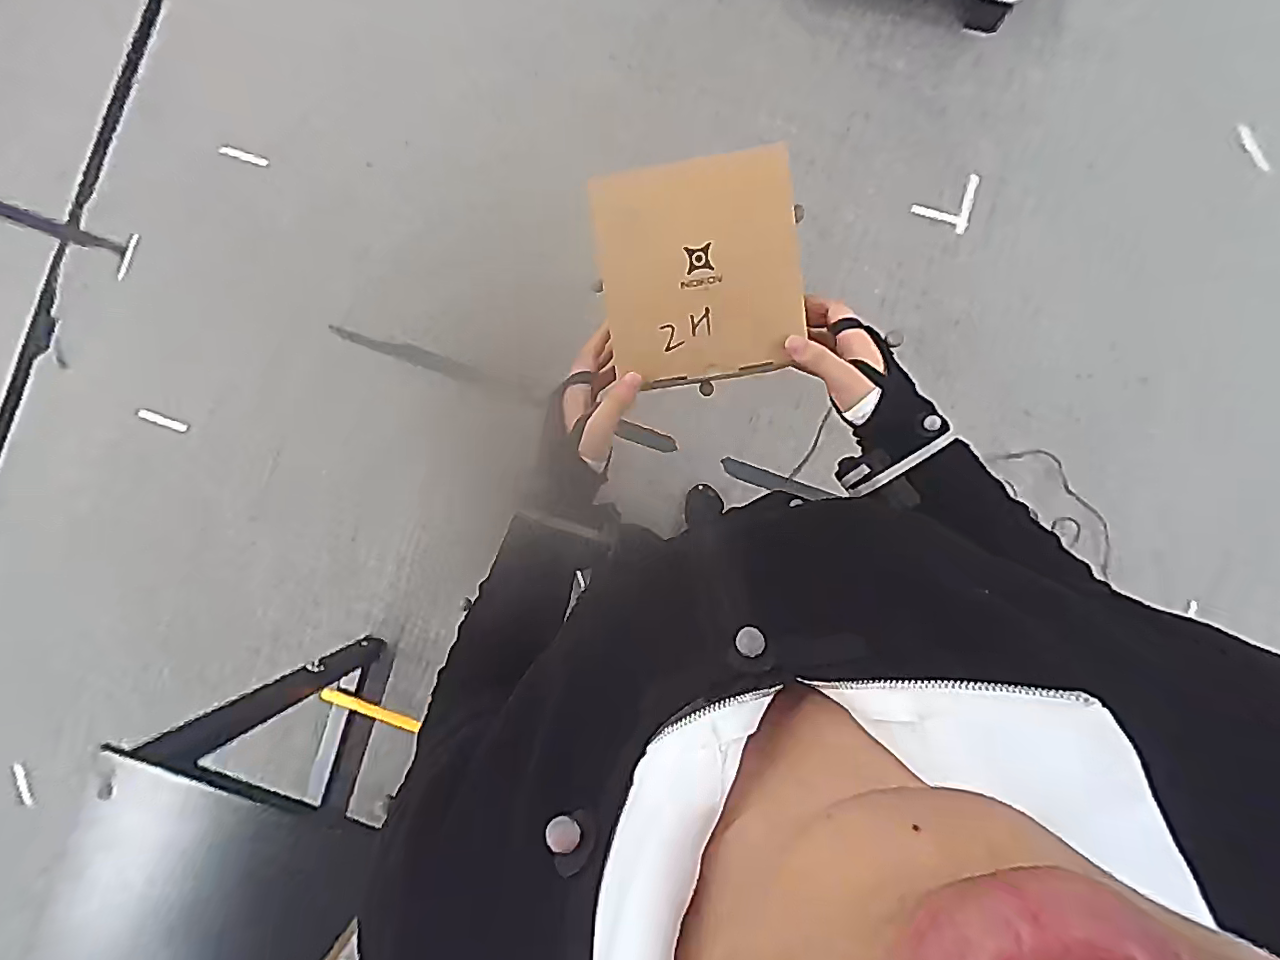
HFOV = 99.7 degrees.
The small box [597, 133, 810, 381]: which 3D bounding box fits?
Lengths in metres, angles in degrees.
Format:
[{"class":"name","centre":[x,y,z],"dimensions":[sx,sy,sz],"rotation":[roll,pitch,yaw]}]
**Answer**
[{"class":"small box","centre":[0.059,-0.198,0.532],"dimensions":[0.168,0.176,0.179],"rotation":[-7,98,6]}]
